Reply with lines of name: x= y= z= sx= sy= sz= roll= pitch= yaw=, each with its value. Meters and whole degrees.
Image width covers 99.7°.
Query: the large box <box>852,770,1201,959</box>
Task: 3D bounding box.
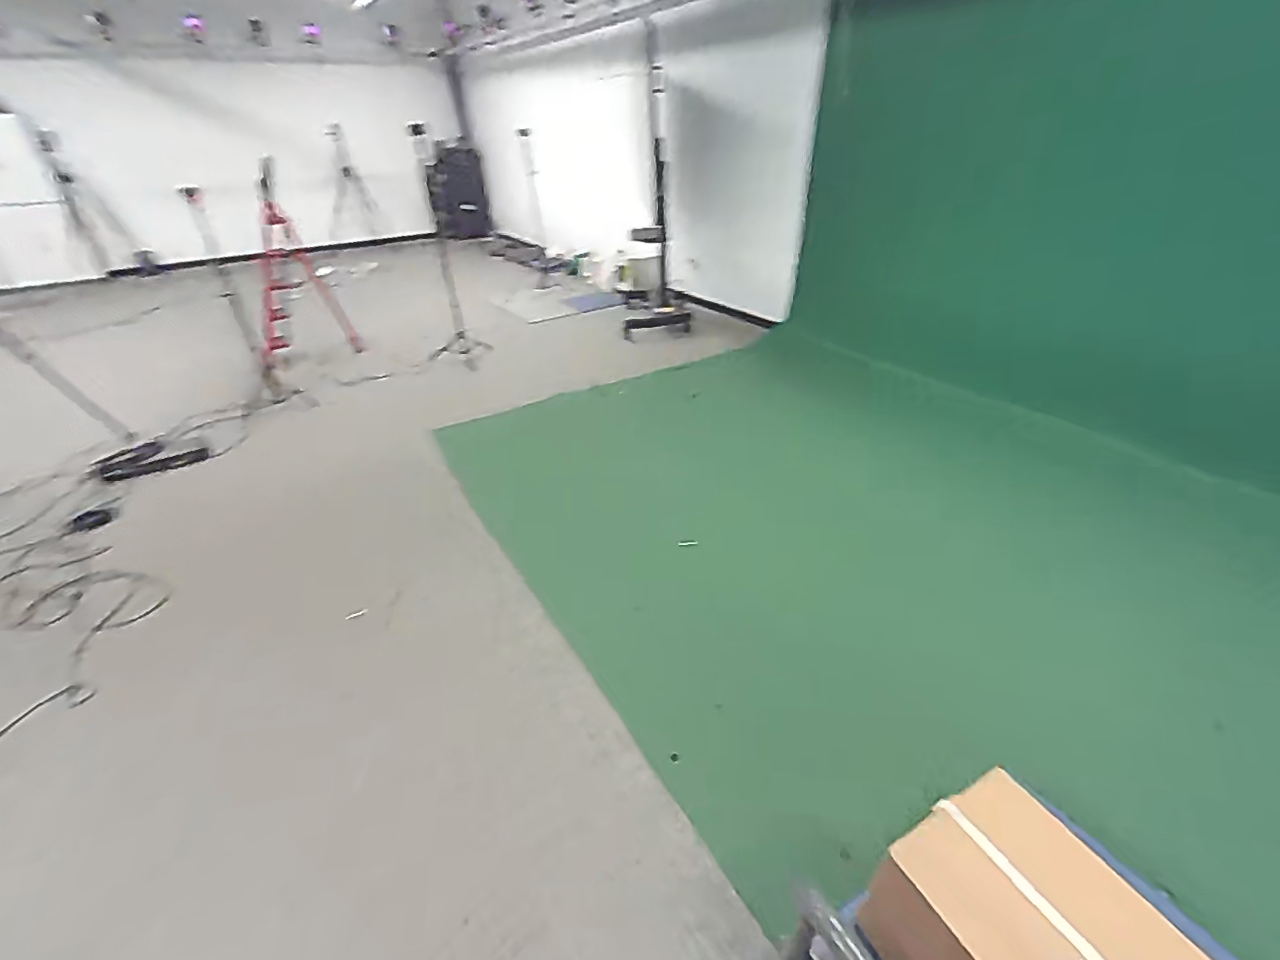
large box: x=0.657 y=0.830 z=0.950 sx=0.320 sy=0.320 sz=0.408 roll=-17 pitch=37 yaw=-22
